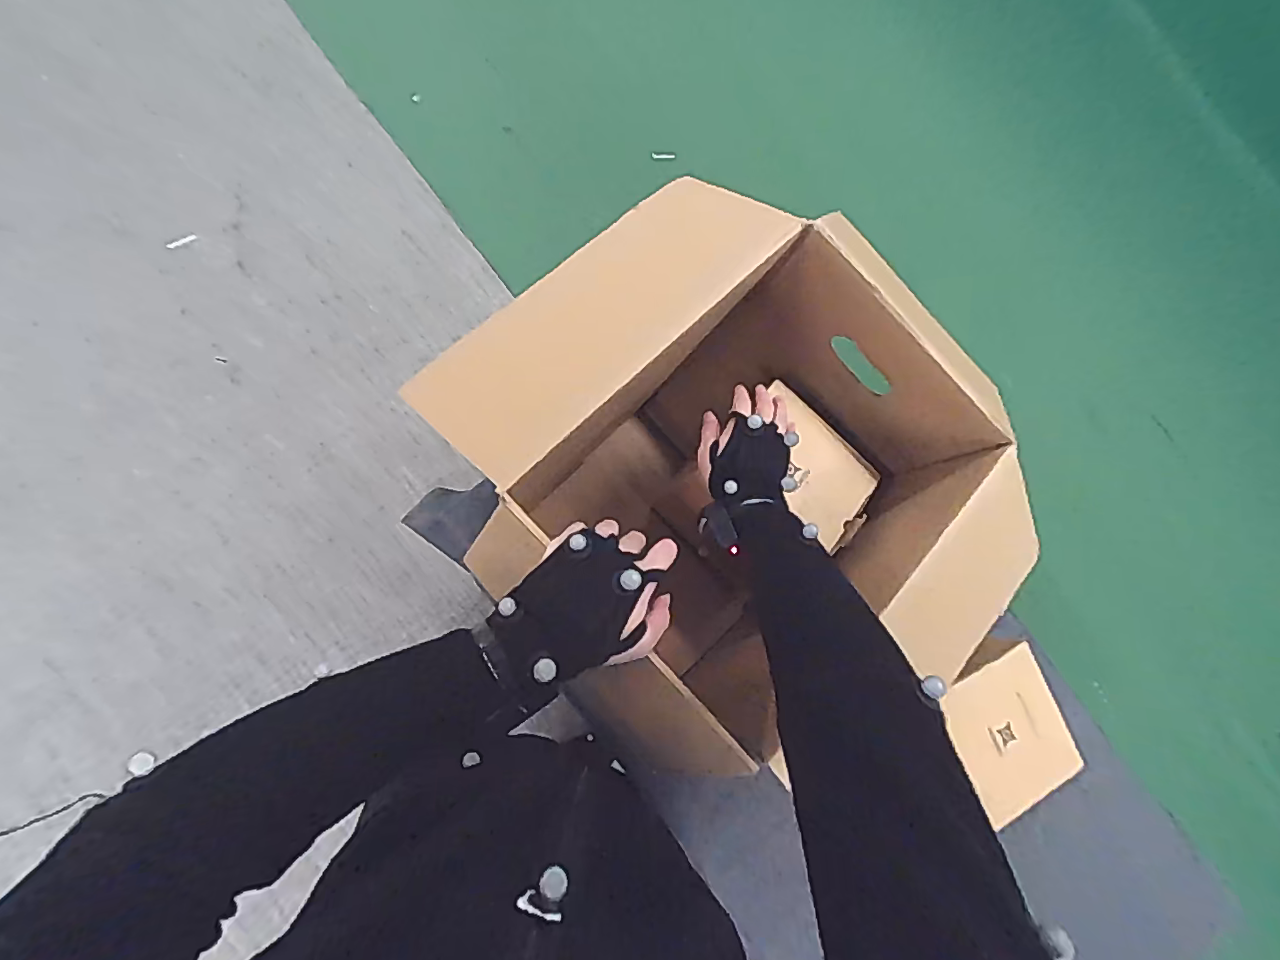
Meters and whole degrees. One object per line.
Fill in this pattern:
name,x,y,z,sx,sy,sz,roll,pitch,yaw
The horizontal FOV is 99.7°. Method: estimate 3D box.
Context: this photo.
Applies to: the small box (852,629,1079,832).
small box,0.413,0.314,0.721,0.179,0.176,0.168,-22,86,-16
